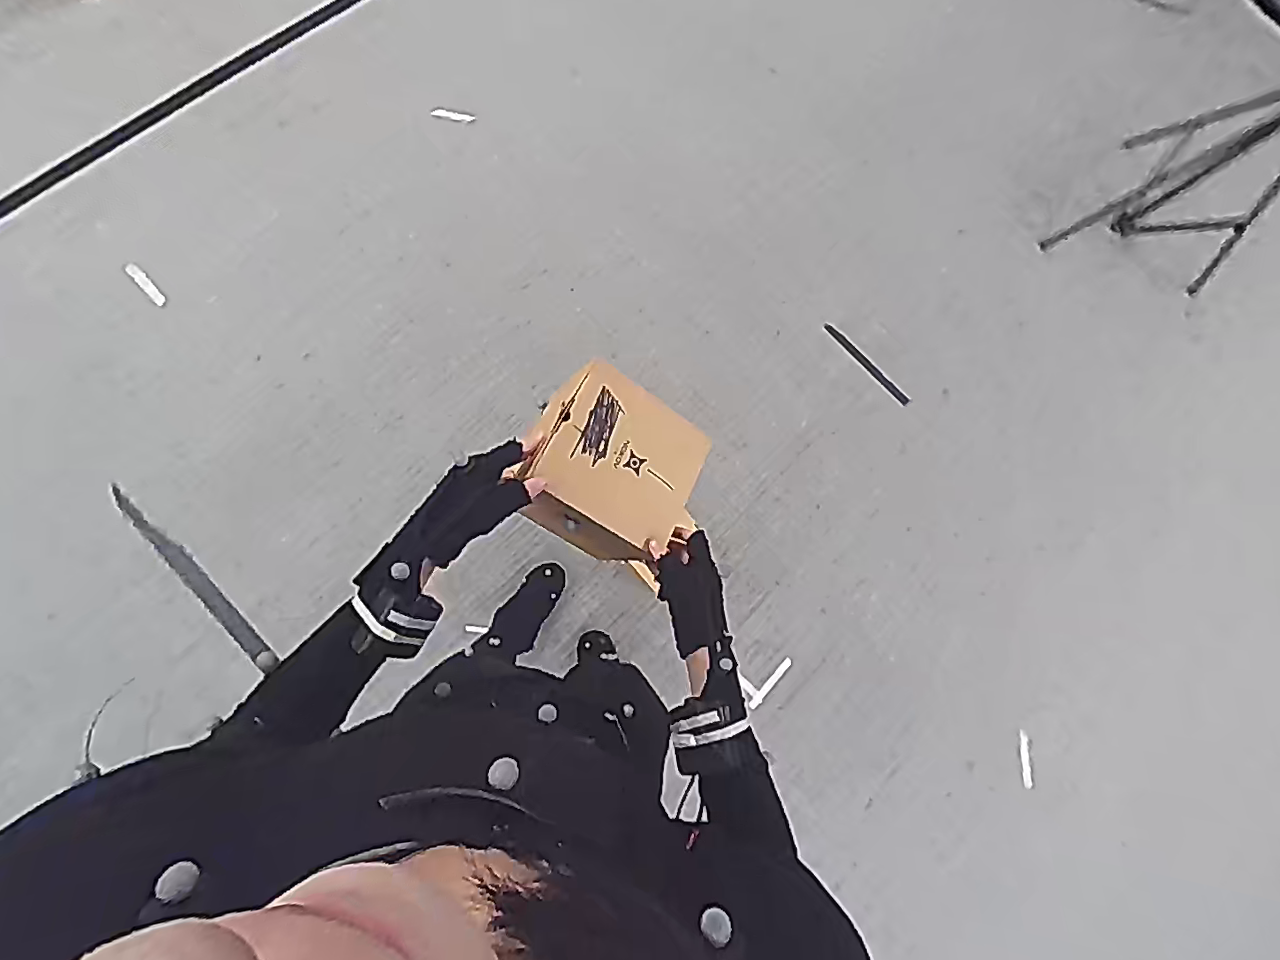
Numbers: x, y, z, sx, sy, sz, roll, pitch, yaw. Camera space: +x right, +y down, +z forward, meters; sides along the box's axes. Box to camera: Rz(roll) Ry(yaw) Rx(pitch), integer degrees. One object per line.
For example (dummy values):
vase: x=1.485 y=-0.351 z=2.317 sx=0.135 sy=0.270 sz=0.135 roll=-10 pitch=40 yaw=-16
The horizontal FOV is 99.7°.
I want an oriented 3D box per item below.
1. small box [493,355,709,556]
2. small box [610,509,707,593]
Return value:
small box: x=-0.055 y=-0.016 z=0.662 sx=0.179 sy=0.176 sz=0.168 roll=34 pitch=69 yaw=-21
small box: x=0.030 y=0.155 z=1.311 sx=0.179 sy=0.176 sz=0.168 roll=-39 pitch=87 yaw=-13
